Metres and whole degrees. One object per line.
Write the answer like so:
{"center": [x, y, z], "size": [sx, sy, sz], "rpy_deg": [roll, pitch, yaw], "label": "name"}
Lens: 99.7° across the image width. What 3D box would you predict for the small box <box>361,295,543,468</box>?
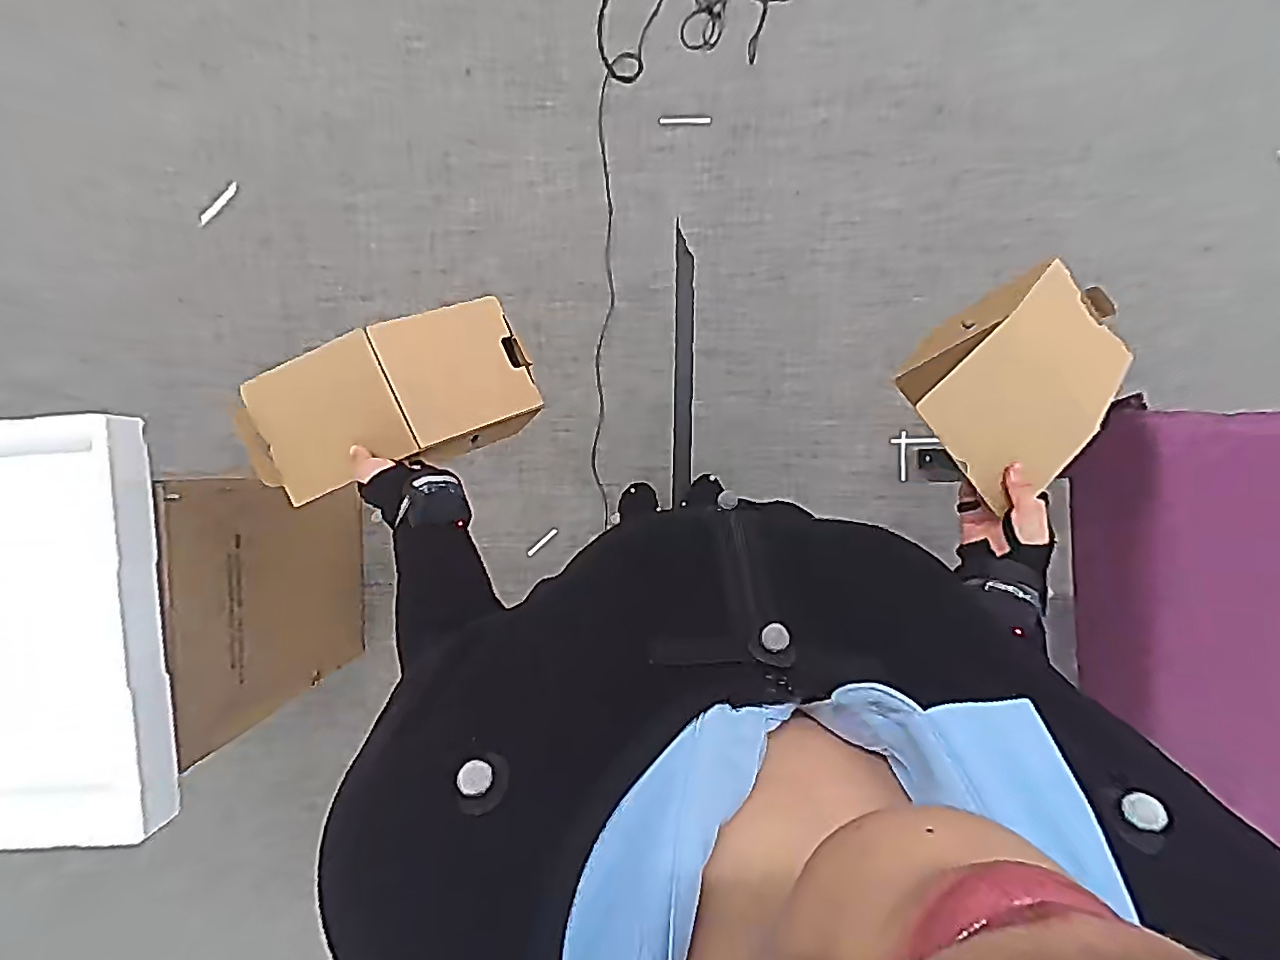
{"center": [-0.263, -0.129, 0.755], "size": [0.179, 0.176, 0.168], "rpy_deg": [-25, 93, -26], "label": "small box"}
